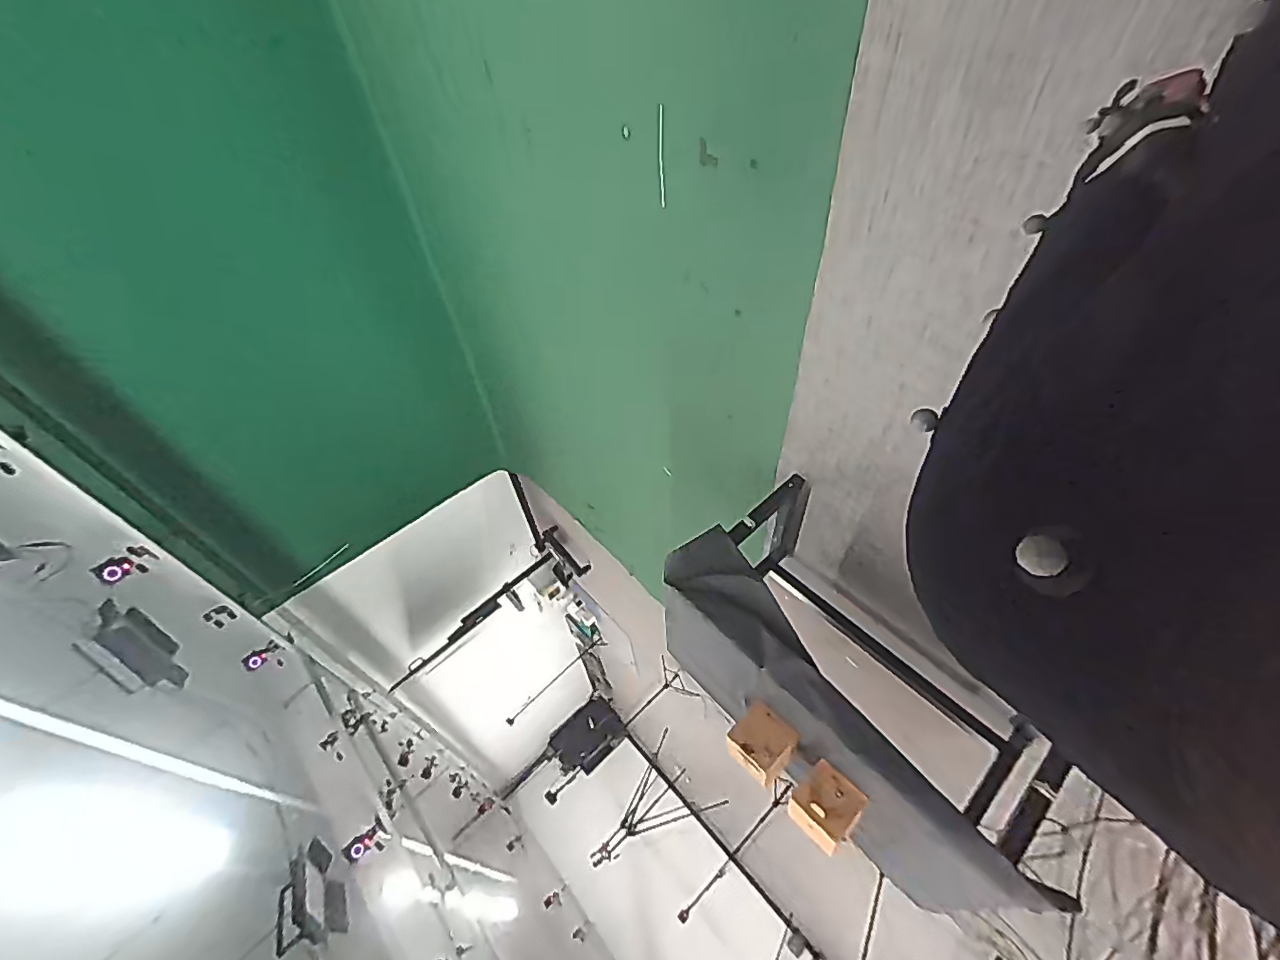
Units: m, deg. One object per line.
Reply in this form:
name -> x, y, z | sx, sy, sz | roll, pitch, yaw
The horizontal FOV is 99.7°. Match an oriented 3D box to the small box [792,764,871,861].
small box -> 0.589, 1.022, 1.668 | 0.168, 0.176, 0.179 | 34, 149, 38
